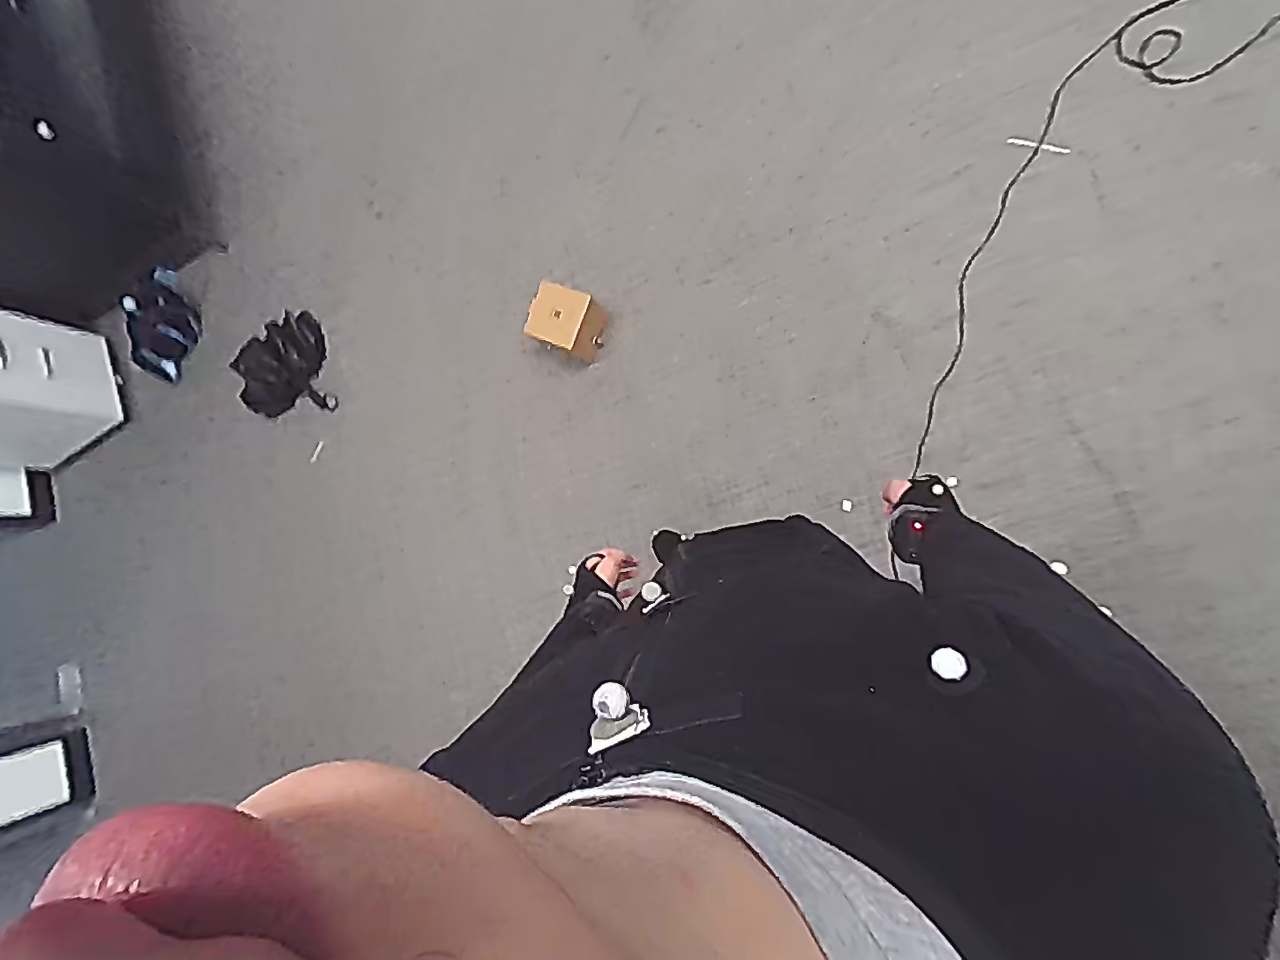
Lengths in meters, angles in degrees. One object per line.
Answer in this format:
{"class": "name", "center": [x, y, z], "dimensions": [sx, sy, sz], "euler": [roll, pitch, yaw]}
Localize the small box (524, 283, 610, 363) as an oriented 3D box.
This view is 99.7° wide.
{"class": "small box", "center": [-0.218, -0.474, 1.657], "dimensions": [0.179, 0.176, 0.168], "euler": [22, 94, 17]}
